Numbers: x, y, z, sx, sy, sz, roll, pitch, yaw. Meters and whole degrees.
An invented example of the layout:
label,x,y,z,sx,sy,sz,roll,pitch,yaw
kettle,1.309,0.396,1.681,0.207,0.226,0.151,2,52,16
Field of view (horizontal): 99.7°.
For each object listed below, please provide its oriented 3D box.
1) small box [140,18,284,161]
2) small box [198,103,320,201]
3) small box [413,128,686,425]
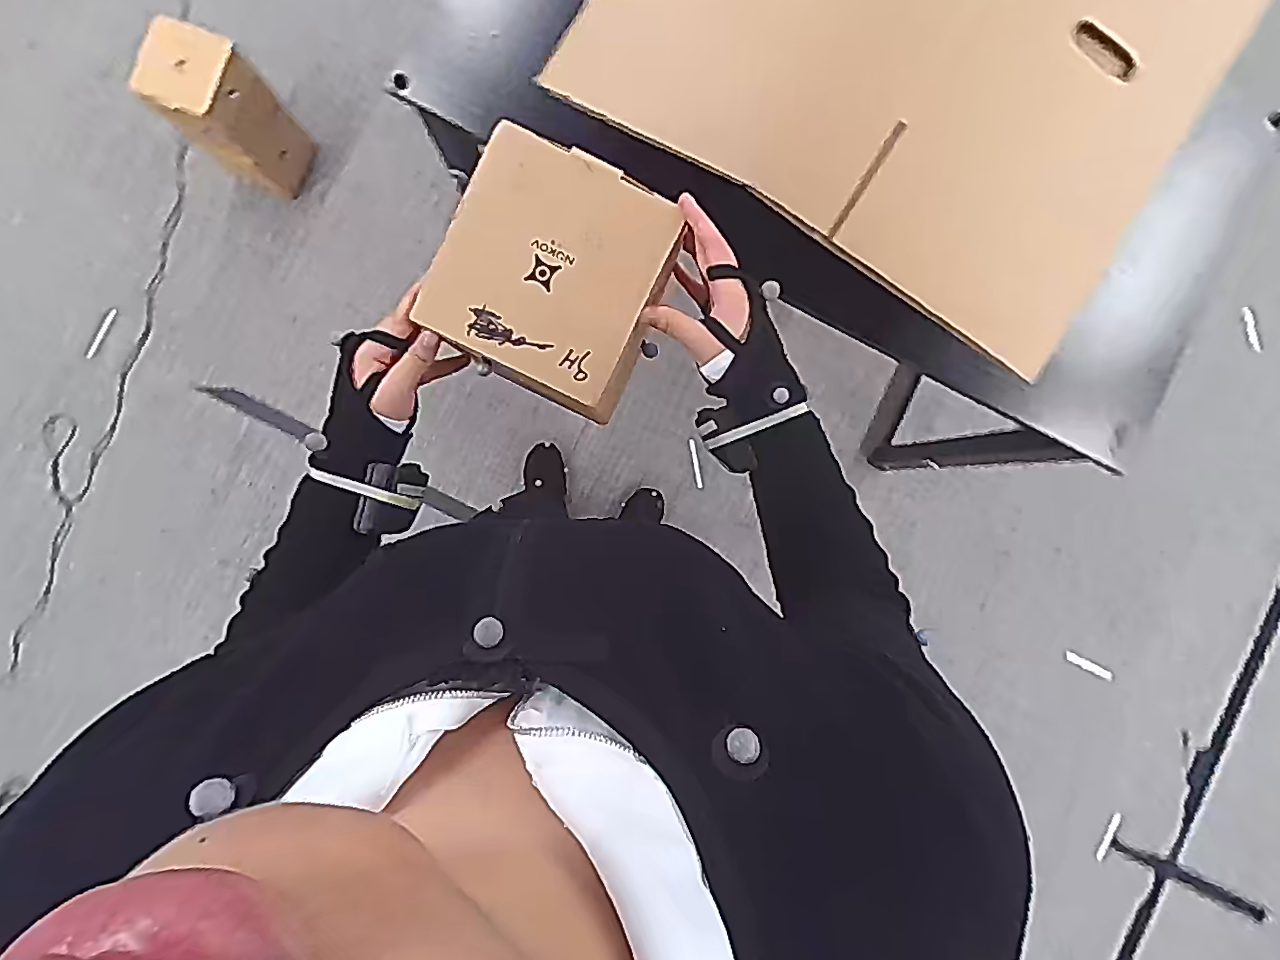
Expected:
label,x,y,z,sx,sy,sz,roll,pitch,yaw
small box,-0.957,-0.872,1.228,0.168,0.176,0.179,20,87,-3
small box,-0.965,-0.864,1.390,0.168,0.176,0.179,23,89,-2
small box,-0.074,-0.168,0.508,0.168,0.176,0.179,25,89,0
